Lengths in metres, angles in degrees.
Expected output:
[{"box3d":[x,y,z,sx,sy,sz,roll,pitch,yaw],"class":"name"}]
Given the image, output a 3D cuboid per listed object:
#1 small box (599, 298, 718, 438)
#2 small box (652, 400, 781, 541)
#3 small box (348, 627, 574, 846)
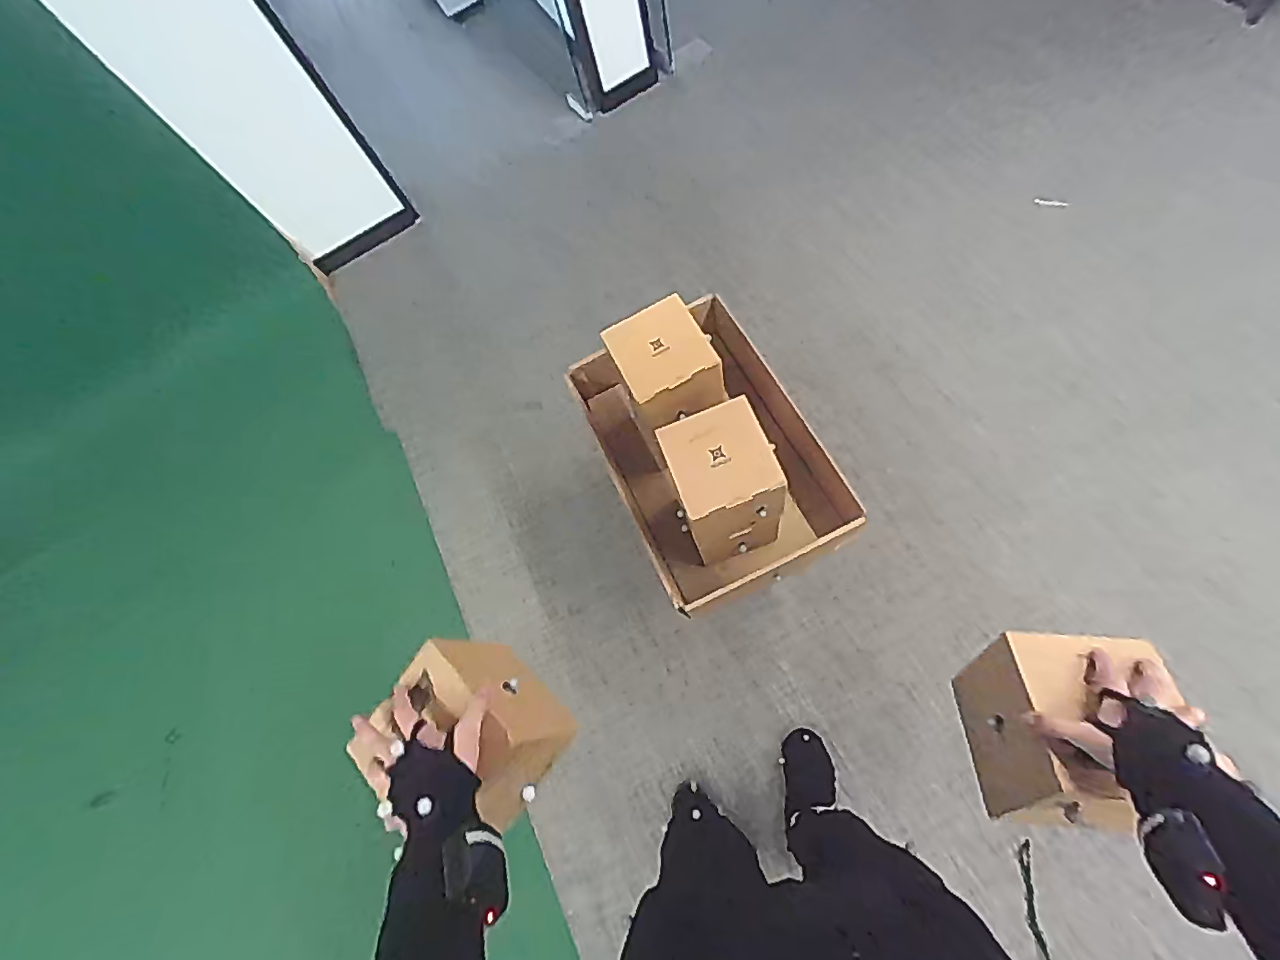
[{"box3d":[0.041,-0.209,1.056,0.168,0.176,0.179,-28,68,0],"class":"small box"},{"box3d":[0.137,-0.006,0.953,0.168,0.176,0.179,-21,65,3],"class":"small box"},{"box3d":[-0.220,0.313,0.694,0.179,0.176,0.168,36,88,25],"class":"small box"}]
